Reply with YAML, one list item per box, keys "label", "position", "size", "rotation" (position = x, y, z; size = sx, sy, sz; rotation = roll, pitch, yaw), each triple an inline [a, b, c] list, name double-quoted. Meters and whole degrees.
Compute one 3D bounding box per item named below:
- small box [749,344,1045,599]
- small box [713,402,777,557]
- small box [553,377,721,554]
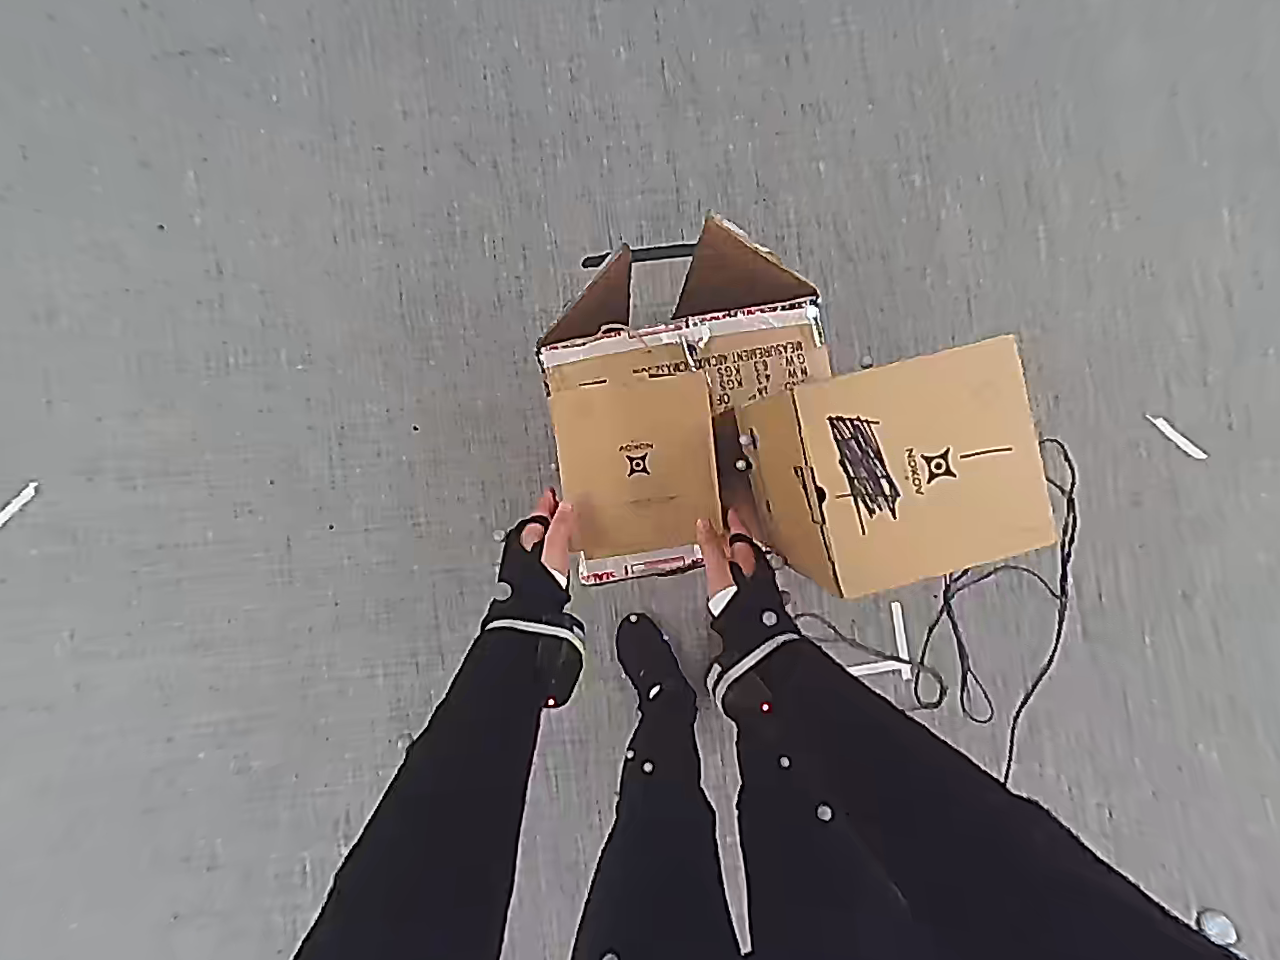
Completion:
- label: "small box"
  position: [0.209, -0.008, 0.493]
  size: [0.179, 0.176, 0.168]
  rotation: [-14, 93, -2]
- label: "small box"
  position: [0.202, -0.020, 0.659]
  size: [0.179, 0.176, 0.168]
  rotation: [-14, 93, -1]
- label: "small box"
  position: [-0.004, -0.018, 0.651]
  size: [0.168, 0.176, 0.179]
  rotation: [-7, 93, 0]
